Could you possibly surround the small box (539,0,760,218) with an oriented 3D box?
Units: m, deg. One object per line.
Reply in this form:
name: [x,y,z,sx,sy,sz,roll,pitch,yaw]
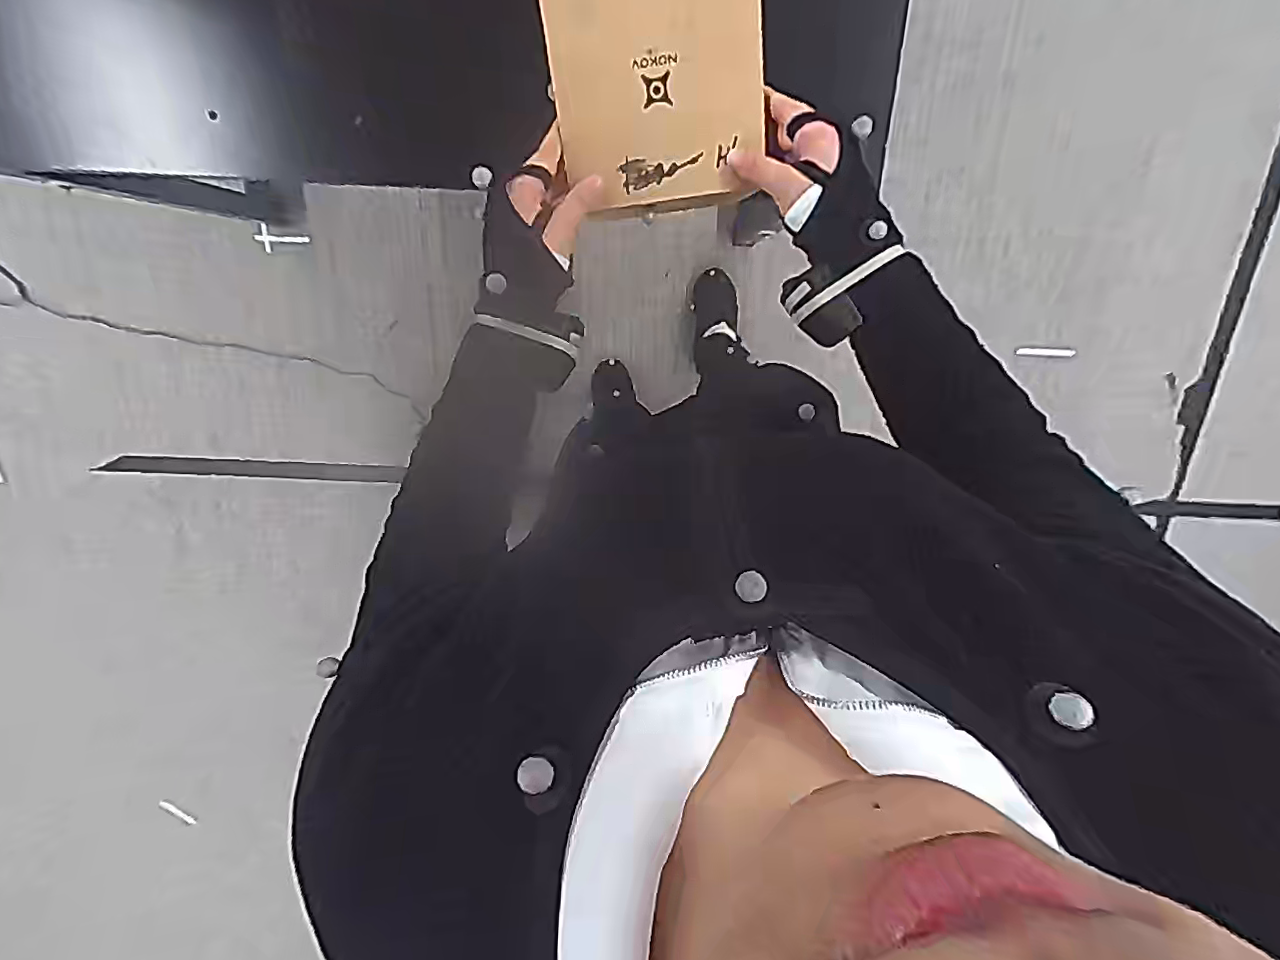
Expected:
small box: [0.011,-0.349,0.494,0.168,0.176,0.179,-6,114,4]
